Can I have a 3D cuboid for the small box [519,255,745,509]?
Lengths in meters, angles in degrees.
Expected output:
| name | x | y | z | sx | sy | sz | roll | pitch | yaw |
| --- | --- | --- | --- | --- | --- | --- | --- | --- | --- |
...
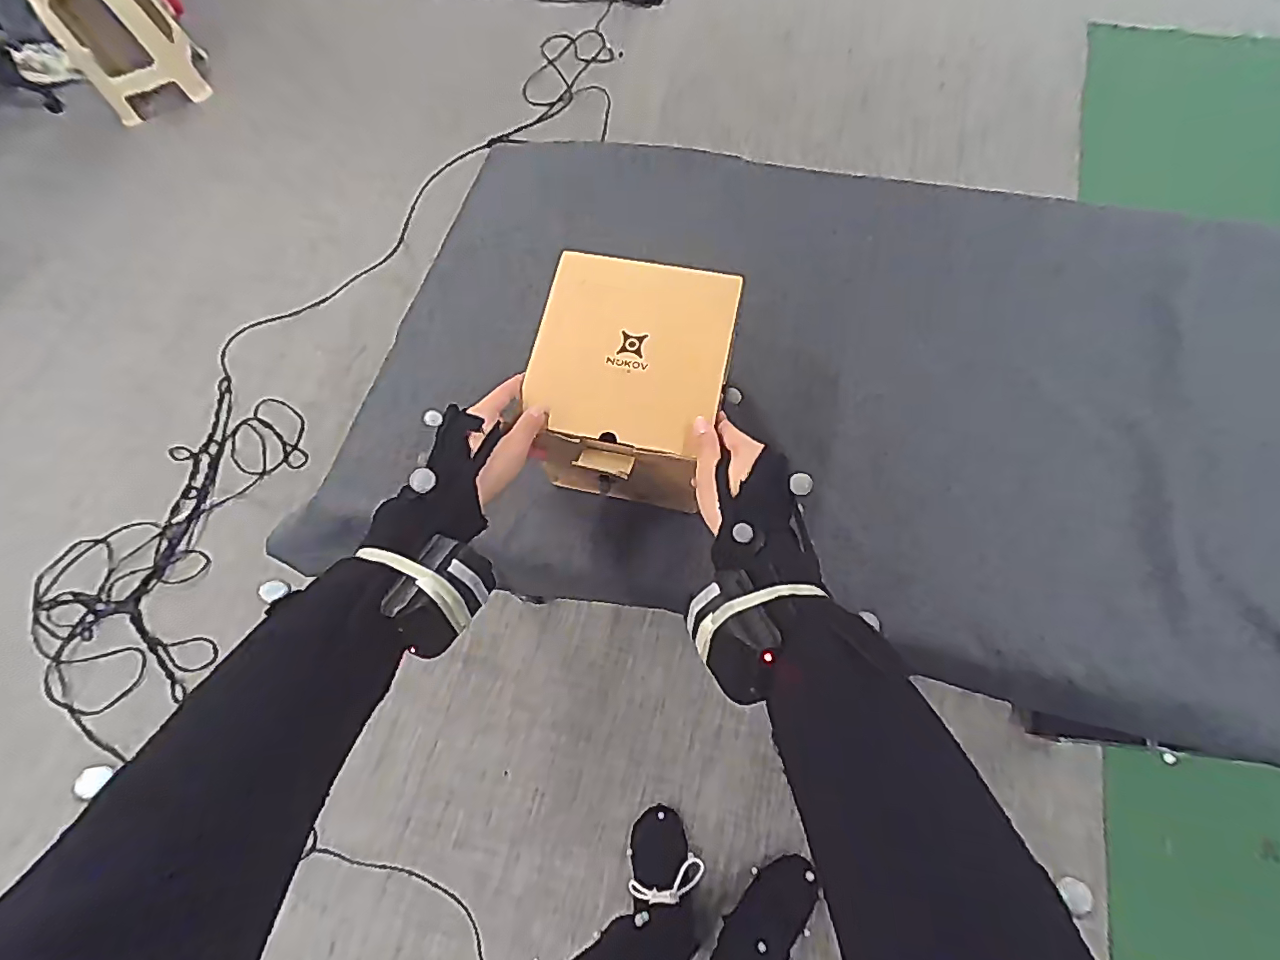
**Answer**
| name | x | y | z | sx | sy | sz | roll | pitch | yaw |
| --- | --- | --- | --- | --- | --- | --- | --- | --- | --- |
| small box | -0.001 | -0.086 | 0.537 | 0.168 | 0.176 | 0.179 | 11 | 74 | 6 |
